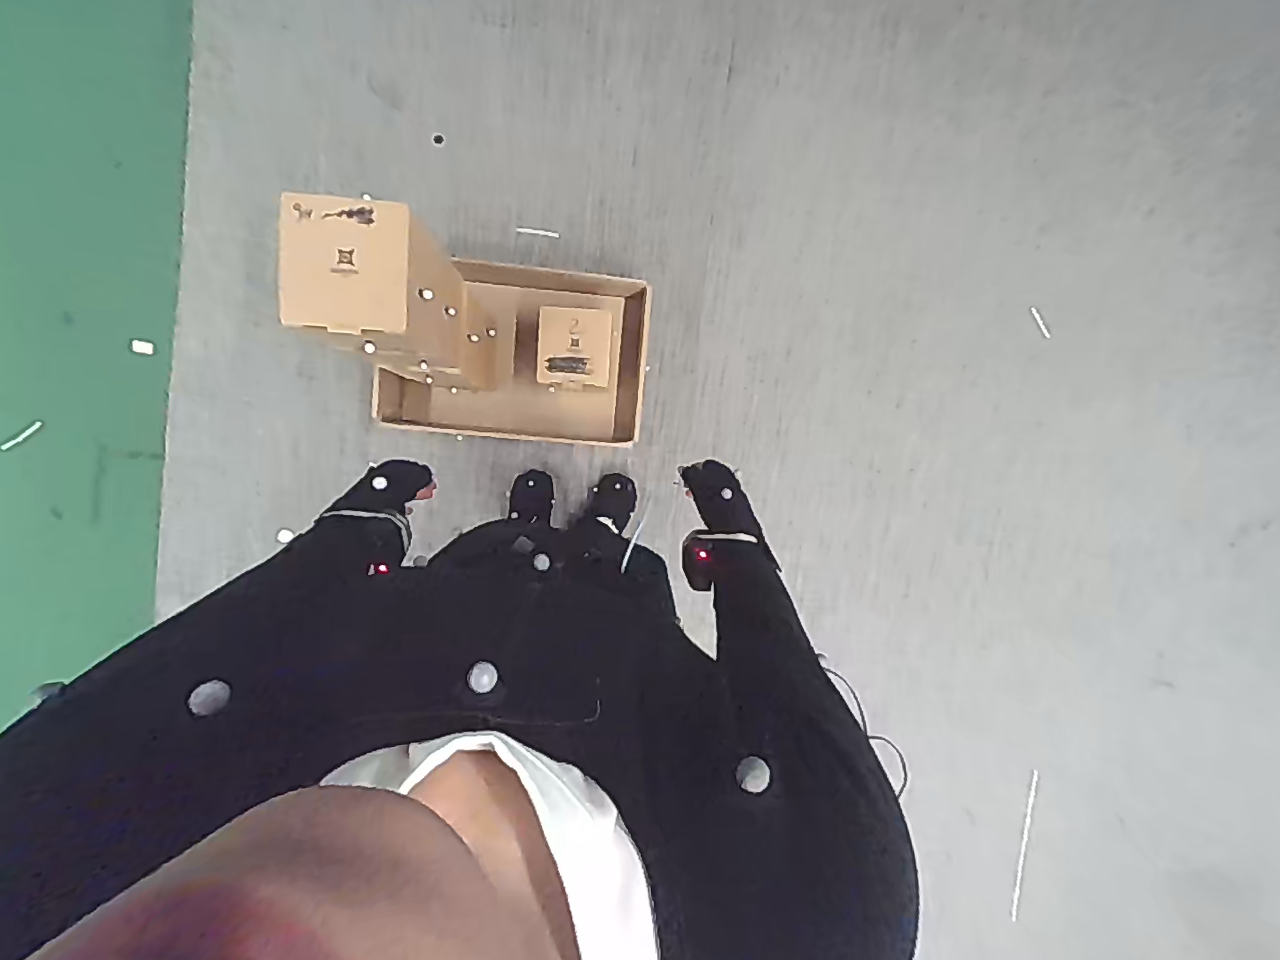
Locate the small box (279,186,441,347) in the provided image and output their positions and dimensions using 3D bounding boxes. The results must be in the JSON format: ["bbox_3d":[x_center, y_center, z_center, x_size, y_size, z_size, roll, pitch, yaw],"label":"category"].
[{"bbox_3d":[-0.399,-0.299,0.796,0.168,0.176,0.179,3,95,-7],"label":"small box"}]

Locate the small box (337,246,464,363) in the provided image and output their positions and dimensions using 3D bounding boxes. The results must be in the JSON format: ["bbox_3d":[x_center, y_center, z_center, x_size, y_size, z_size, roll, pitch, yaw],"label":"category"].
[{"bbox_3d":[-0.415,-0.307,0.959,0.168,0.176,0.179,3,94,-6],"label":"small box"}]

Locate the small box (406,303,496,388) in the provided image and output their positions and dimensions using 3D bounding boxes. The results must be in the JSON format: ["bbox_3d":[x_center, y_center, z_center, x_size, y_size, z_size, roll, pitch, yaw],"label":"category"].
[{"bbox_3d":[-0.442,-0.323,1.284,0.168,0.176,0.179,6,94,-5],"label":"small box"}]

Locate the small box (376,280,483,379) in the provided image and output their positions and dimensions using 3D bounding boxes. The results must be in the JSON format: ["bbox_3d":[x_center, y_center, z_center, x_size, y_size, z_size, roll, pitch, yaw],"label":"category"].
[{"bbox_3d":[-0.428,-0.313,1.122,0.168,0.176,0.179,5,94,-6],"label":"small box"}]
